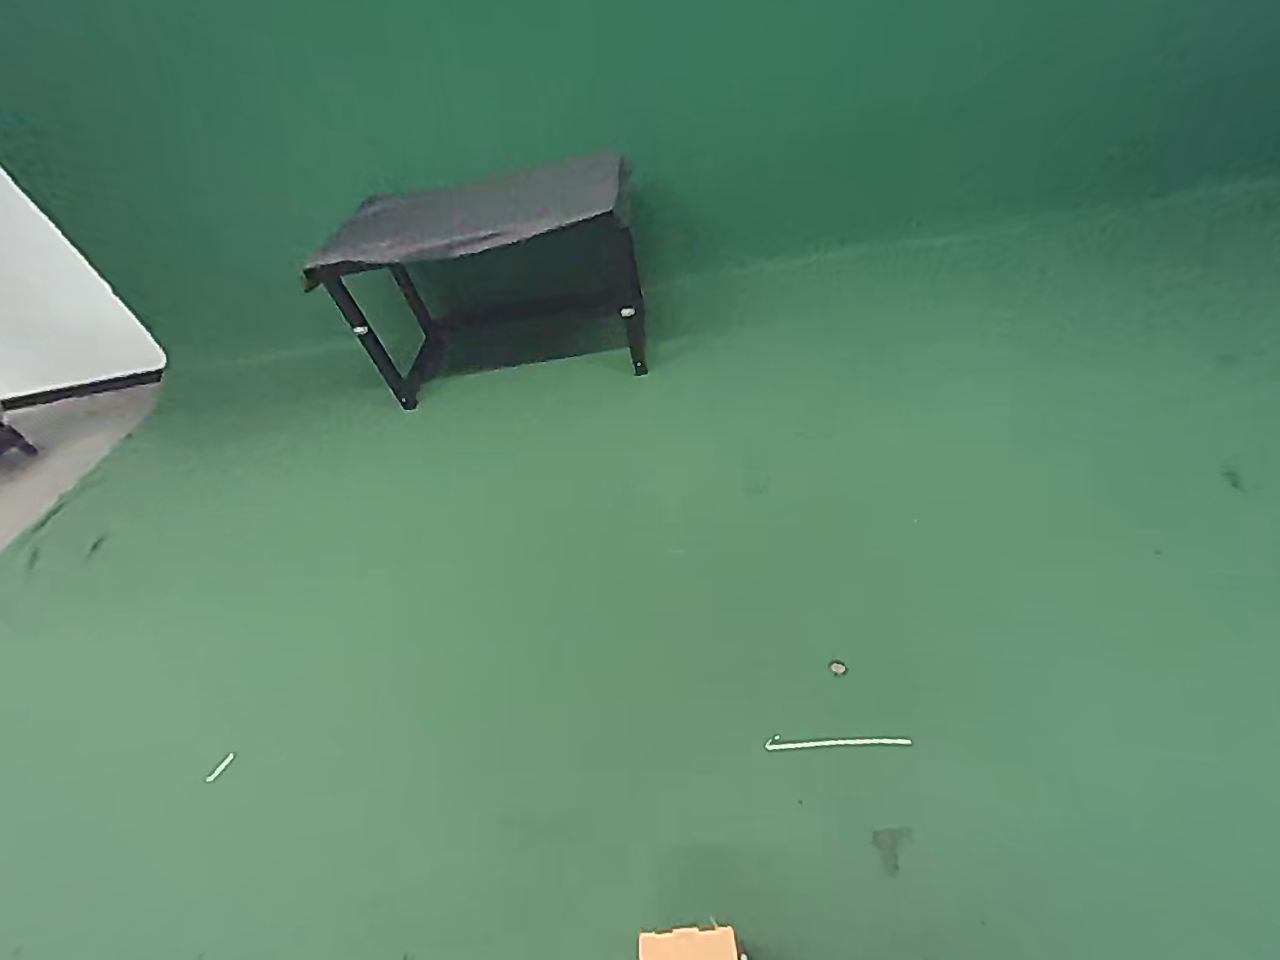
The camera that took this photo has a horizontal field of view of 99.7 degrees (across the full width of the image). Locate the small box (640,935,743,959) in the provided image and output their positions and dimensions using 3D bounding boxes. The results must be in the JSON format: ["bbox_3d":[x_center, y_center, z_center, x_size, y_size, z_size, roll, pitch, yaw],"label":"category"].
[{"bbox_3d":[0.097,0.891,0.908,0.168,0.176,0.179,-9,43,7],"label":"small box"}]
